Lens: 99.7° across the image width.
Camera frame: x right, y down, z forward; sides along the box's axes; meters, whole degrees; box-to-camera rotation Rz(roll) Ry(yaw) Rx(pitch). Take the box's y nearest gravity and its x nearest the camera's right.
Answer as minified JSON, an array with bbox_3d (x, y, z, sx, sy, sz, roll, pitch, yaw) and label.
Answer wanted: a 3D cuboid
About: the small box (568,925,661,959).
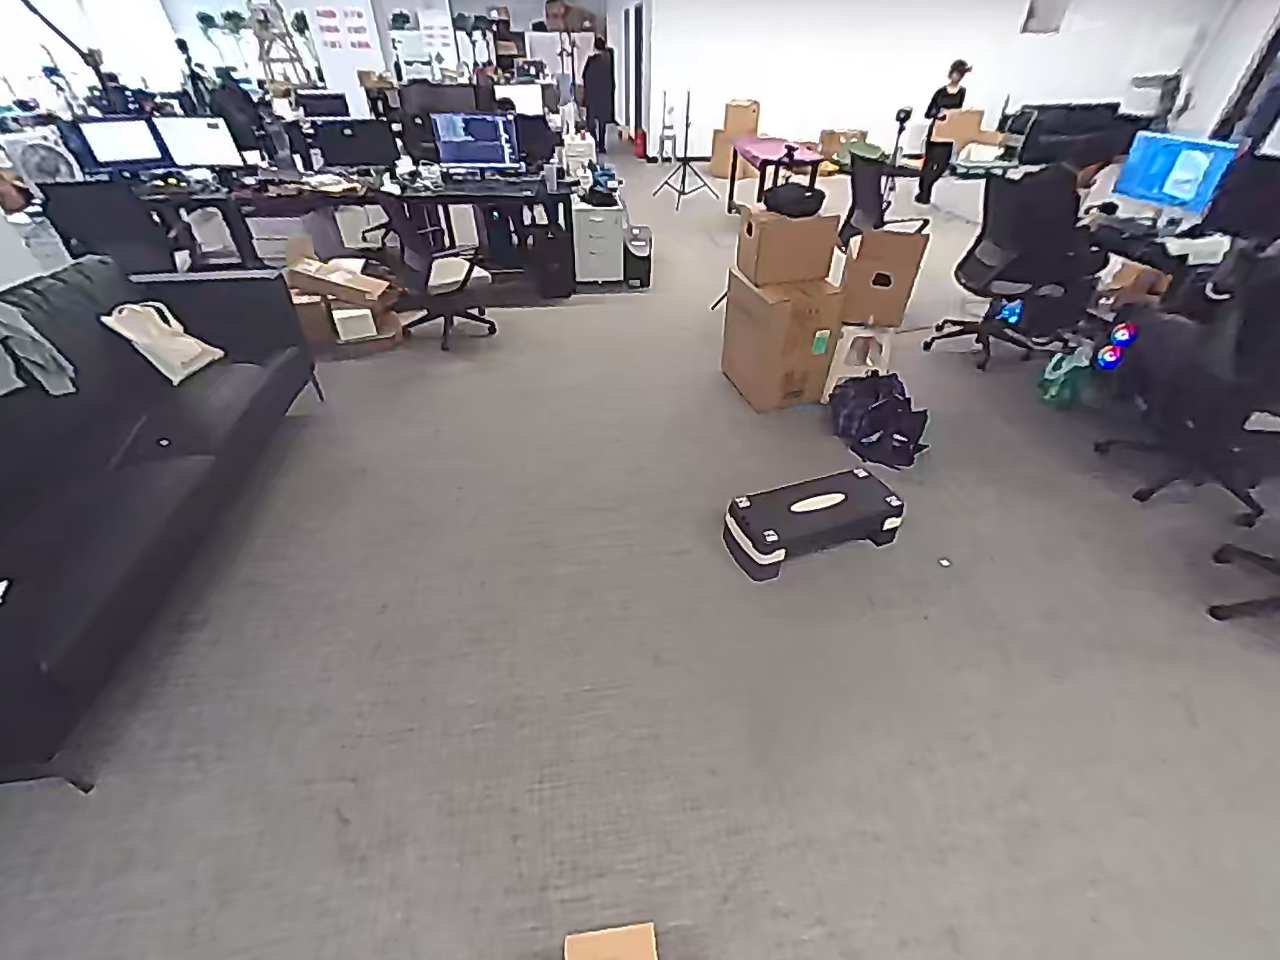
[{"bbox_3d":[-0.039,0.935,0.962,0.168,0.176,0.179,-4,38,-7],"label":"small box"}]
